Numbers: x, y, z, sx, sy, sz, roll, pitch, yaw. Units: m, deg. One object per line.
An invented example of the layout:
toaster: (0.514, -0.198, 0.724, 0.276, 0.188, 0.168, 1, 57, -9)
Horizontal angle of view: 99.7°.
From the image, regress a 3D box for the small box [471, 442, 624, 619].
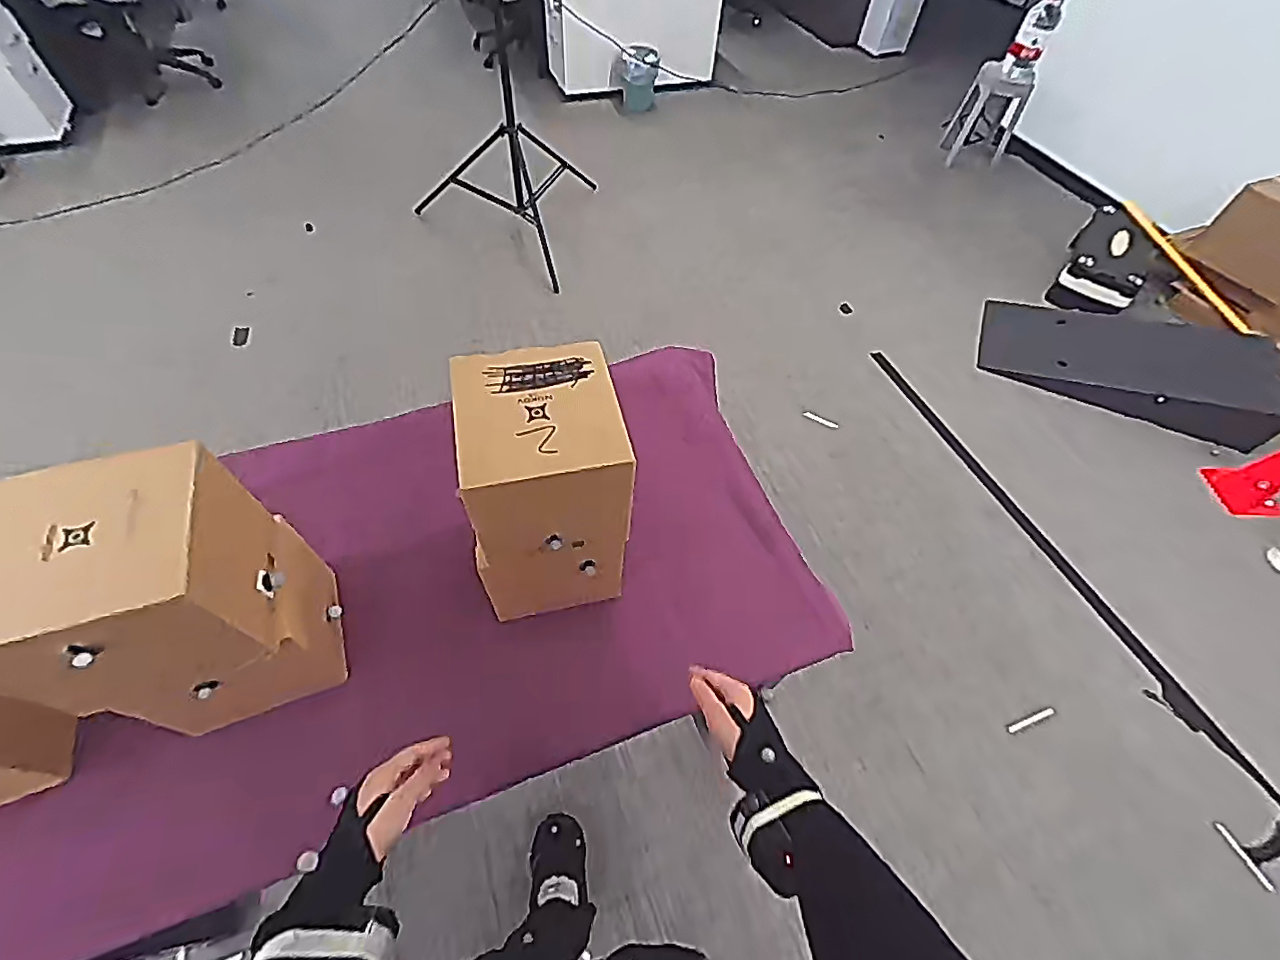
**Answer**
small box: (-0.125, 0.073, 0.747, 0.179, 0.176, 0.168, -10, 56, -10)

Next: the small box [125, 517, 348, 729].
small box: (-0.482, 0.176, 0.651, 0.179, 0.176, 0.168, -17, 58, -16)

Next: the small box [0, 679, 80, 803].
small box: (-0.754, 0.259, 0.576, 0.168, 0.176, 0.179, -19, 58, -16)

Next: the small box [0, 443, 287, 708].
small box: (-0.468, 0.095, 0.512, 0.179, 0.176, 0.168, -15, 59, -15)
